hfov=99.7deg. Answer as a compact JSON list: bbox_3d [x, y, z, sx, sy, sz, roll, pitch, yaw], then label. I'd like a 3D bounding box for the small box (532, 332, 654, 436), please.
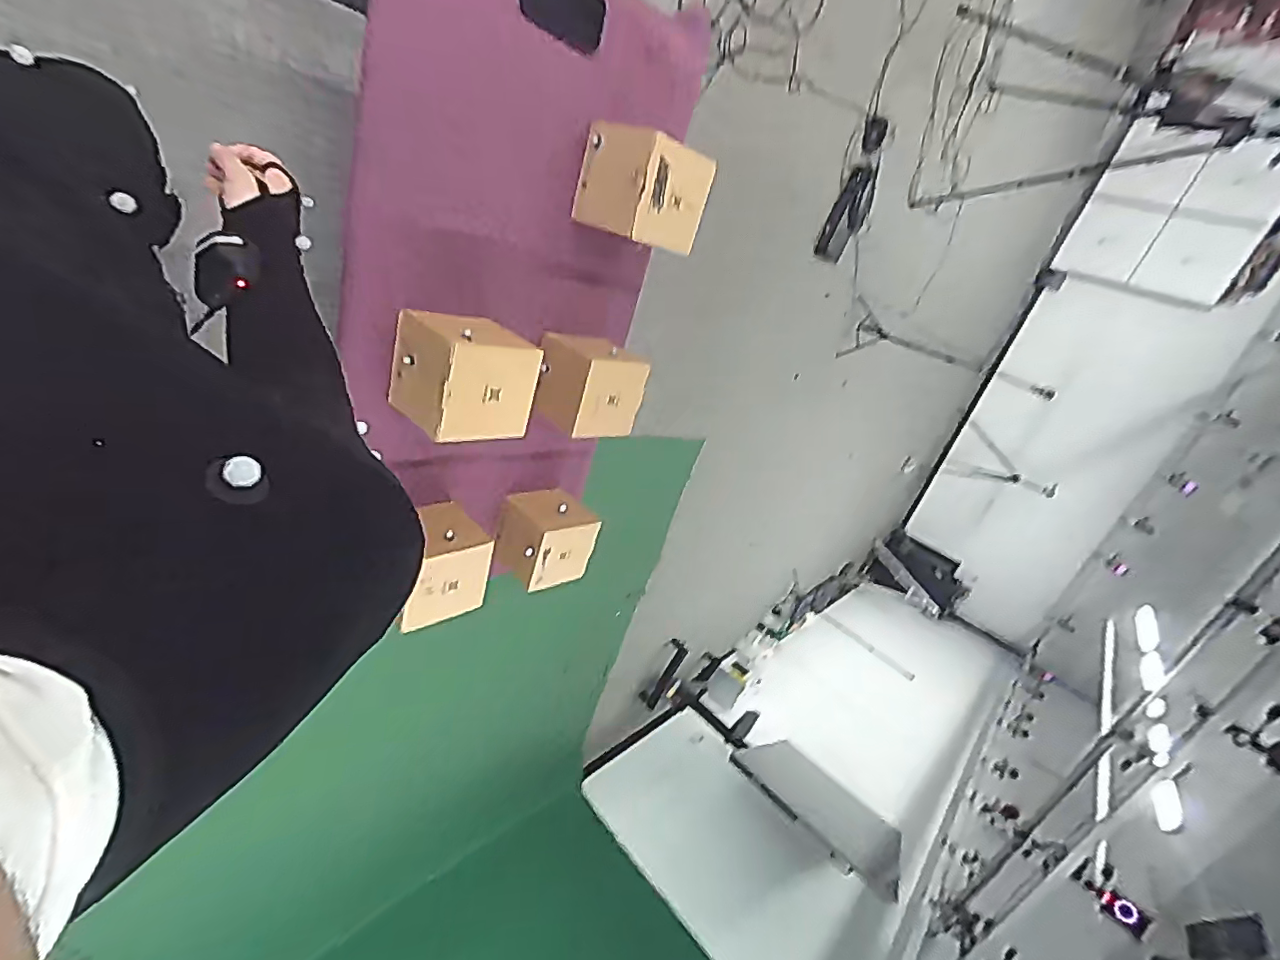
[{"bbox_3d":[-0.106,-0.205,1.155,0.179,0.176,0.168,-7,124,-47],"label":"small box"}]

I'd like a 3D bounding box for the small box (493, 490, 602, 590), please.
[{"bbox_3d":[-0.227,0.135,1.303,0.179,0.176,0.168,-7,124,-49],"label":"small box"}]

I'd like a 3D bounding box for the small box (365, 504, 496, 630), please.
[{"bbox_3d":[-0.419,0.162,1.079,0.179,0.176,0.168,-9,125,-47],"label":"small box"}]

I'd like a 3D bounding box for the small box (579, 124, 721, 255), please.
[{"bbox_3d":[0.012,-0.537,1.001,0.179,0.176,0.168,-10,126,-48],"label":"small box"}]

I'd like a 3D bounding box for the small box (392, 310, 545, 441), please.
[{"bbox_3d":[-0.298,-0.182,0.935,0.179,0.176,0.168,-9,127,-48],"label":"small box"}]
